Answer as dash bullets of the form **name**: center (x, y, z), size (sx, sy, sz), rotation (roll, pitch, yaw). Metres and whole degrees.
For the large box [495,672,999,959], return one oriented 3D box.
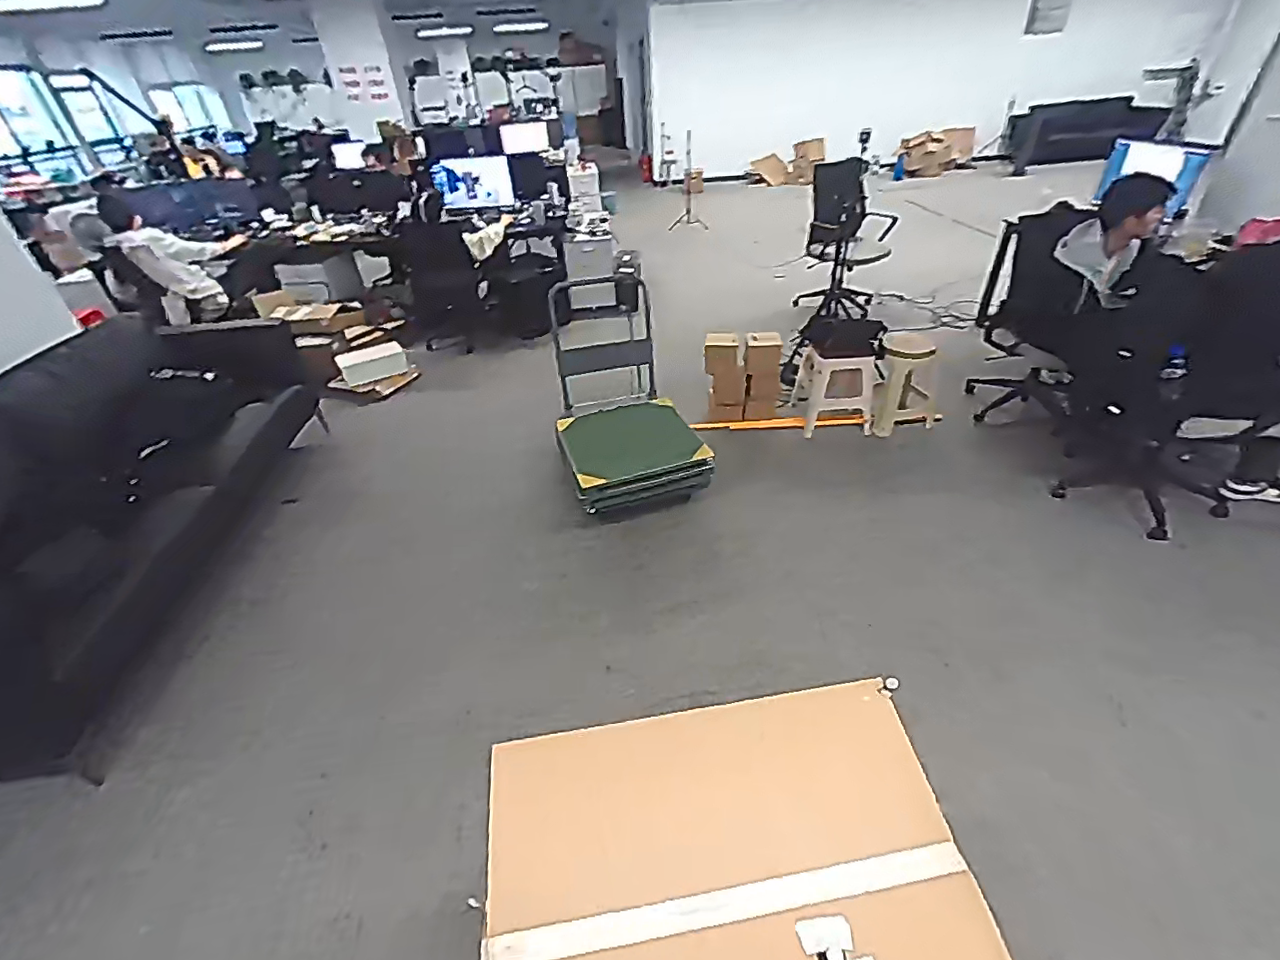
- **large box**: center (0.079, 0.446, 0.576), size (0.408, 0.320, 0.320), rotation (-8, 51, -6)
